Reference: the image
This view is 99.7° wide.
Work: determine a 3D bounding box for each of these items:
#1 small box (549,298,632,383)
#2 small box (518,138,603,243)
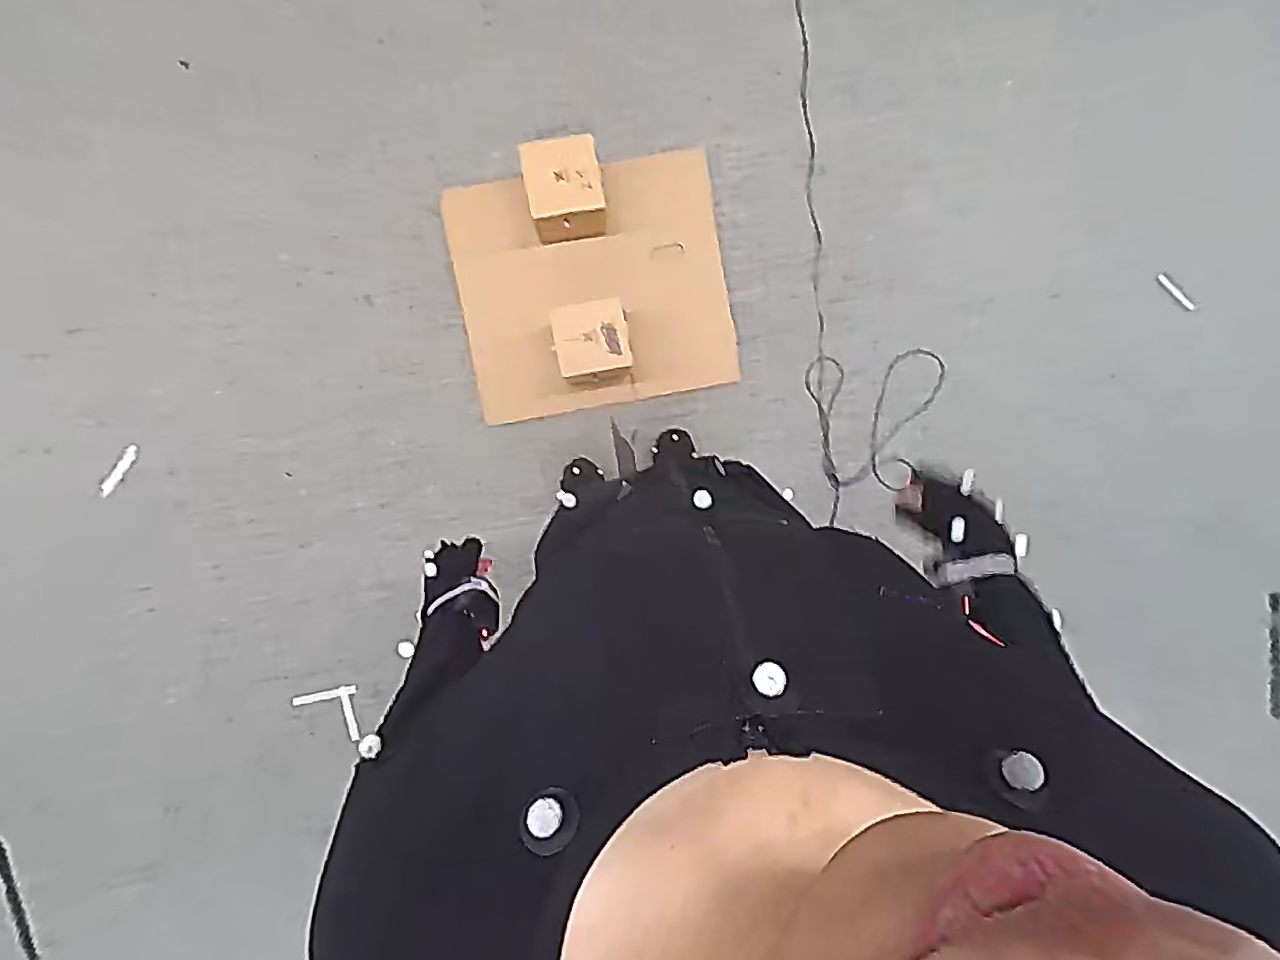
[{"bbox_3d":[-0.123,-0.345,1.359,0.179,0.176,0.168,-11,95,-3],"label":"small box"},{"bbox_3d":[-0.187,-0.700,1.324,0.179,0.176,0.168,-11,96,-4],"label":"small box"}]
